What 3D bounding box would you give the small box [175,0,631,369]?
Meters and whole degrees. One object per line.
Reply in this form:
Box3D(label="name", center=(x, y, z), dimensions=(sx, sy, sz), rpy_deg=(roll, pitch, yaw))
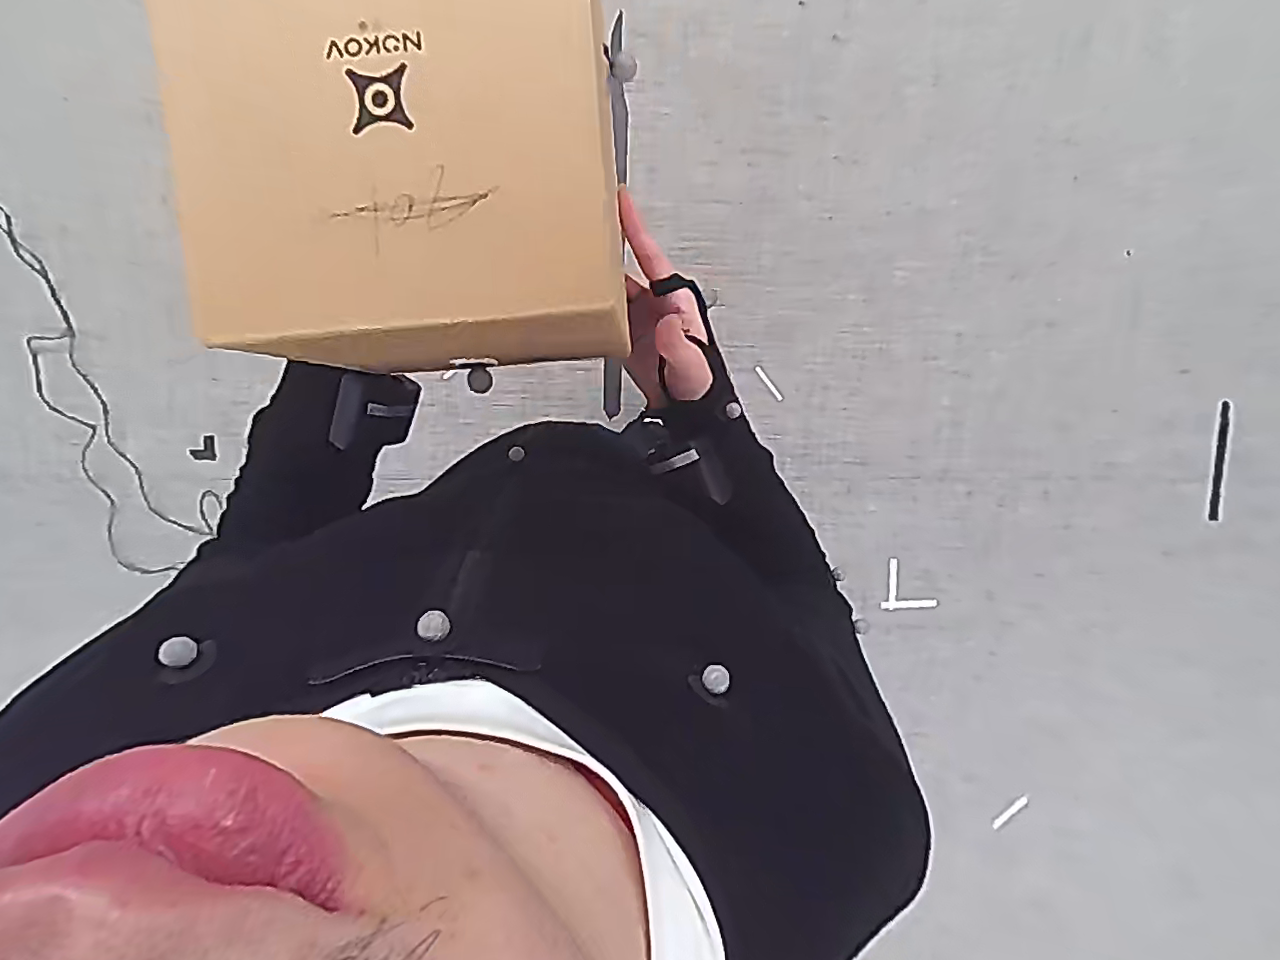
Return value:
Box3D(label="small box", center=(-0.094, -0.161, 0.293), dimensions=(0.168, 0.176, 0.179), rpy_deg=(-5, 98, 2))
